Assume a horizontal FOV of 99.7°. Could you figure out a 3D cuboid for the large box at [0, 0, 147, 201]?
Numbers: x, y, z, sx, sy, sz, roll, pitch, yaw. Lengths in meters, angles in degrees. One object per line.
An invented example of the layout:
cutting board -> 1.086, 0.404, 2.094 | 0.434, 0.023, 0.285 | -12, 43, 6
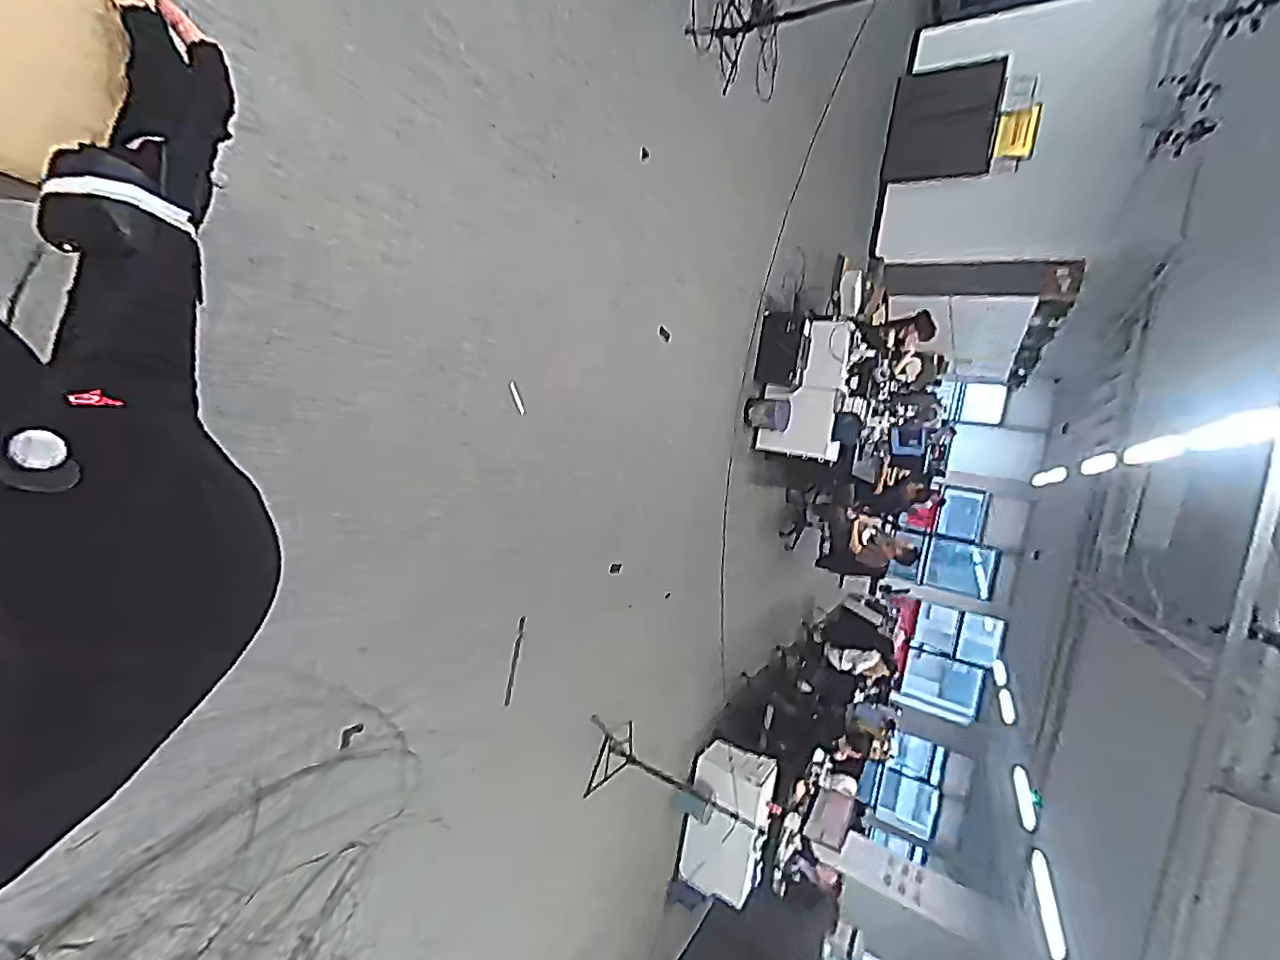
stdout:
large box -> -0.611, -0.419, 0.319 | 0.408, 0.320, 0.320 | 5, 103, -63
